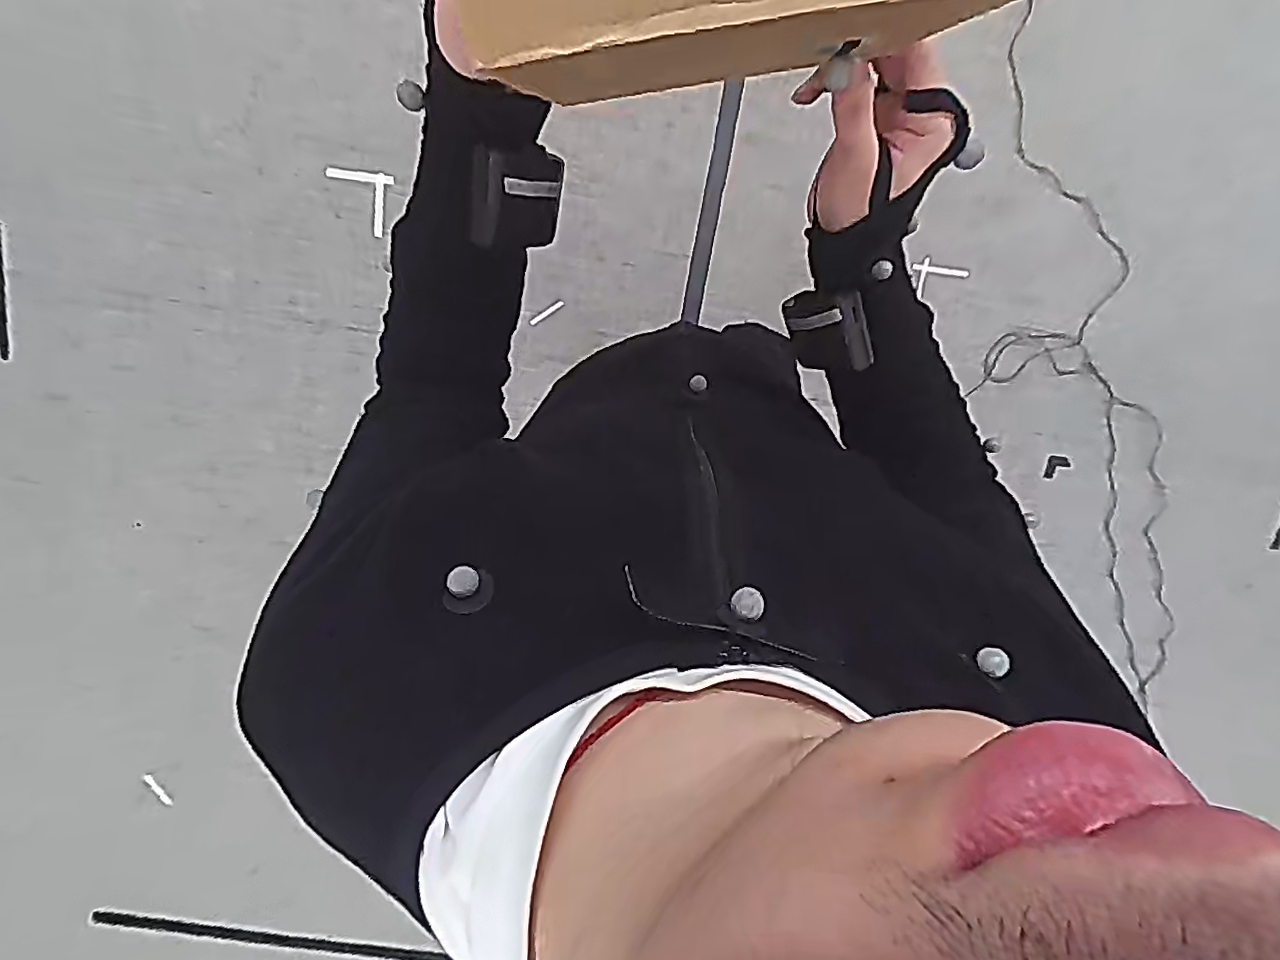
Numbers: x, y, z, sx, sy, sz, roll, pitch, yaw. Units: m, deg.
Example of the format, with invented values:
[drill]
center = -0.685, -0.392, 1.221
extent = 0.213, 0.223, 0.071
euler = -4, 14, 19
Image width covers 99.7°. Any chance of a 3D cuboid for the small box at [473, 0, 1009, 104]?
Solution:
[small box]
center = 0.029, -0.250, 0.195
extent = 0.179, 0.176, 0.168
euler = -5, 121, 7
